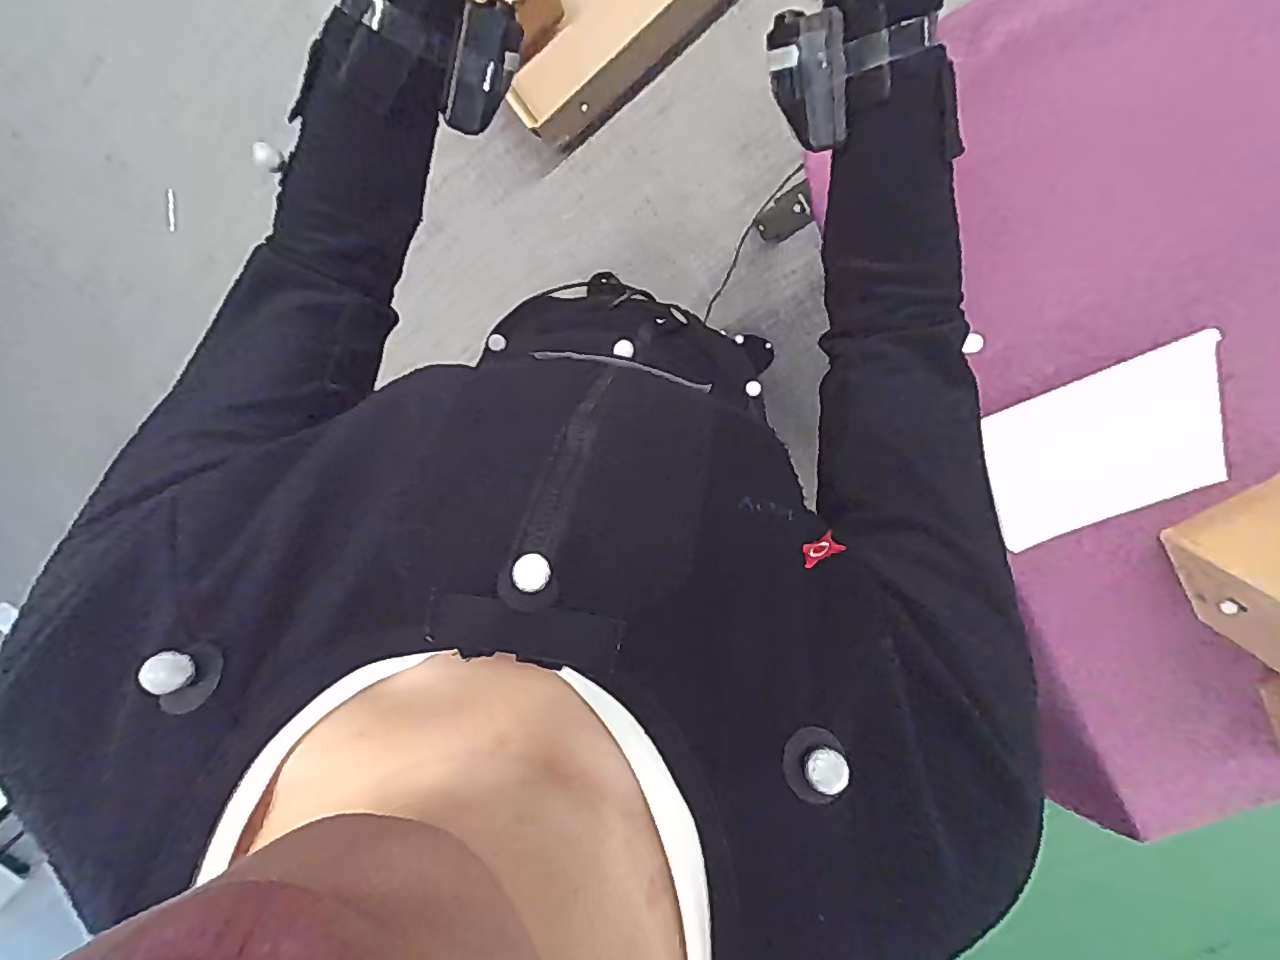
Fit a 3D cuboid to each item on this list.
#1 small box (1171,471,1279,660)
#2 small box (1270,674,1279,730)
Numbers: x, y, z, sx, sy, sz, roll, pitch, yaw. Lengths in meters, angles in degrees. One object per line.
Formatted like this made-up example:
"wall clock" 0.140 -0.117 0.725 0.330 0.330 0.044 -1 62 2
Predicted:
"small box" 0.795 0.108 0.640 0.179 0.176 0.168 -34 105 15
"small box" 1.007 0.339 0.712 0.179 0.176 0.168 -30 106 14
